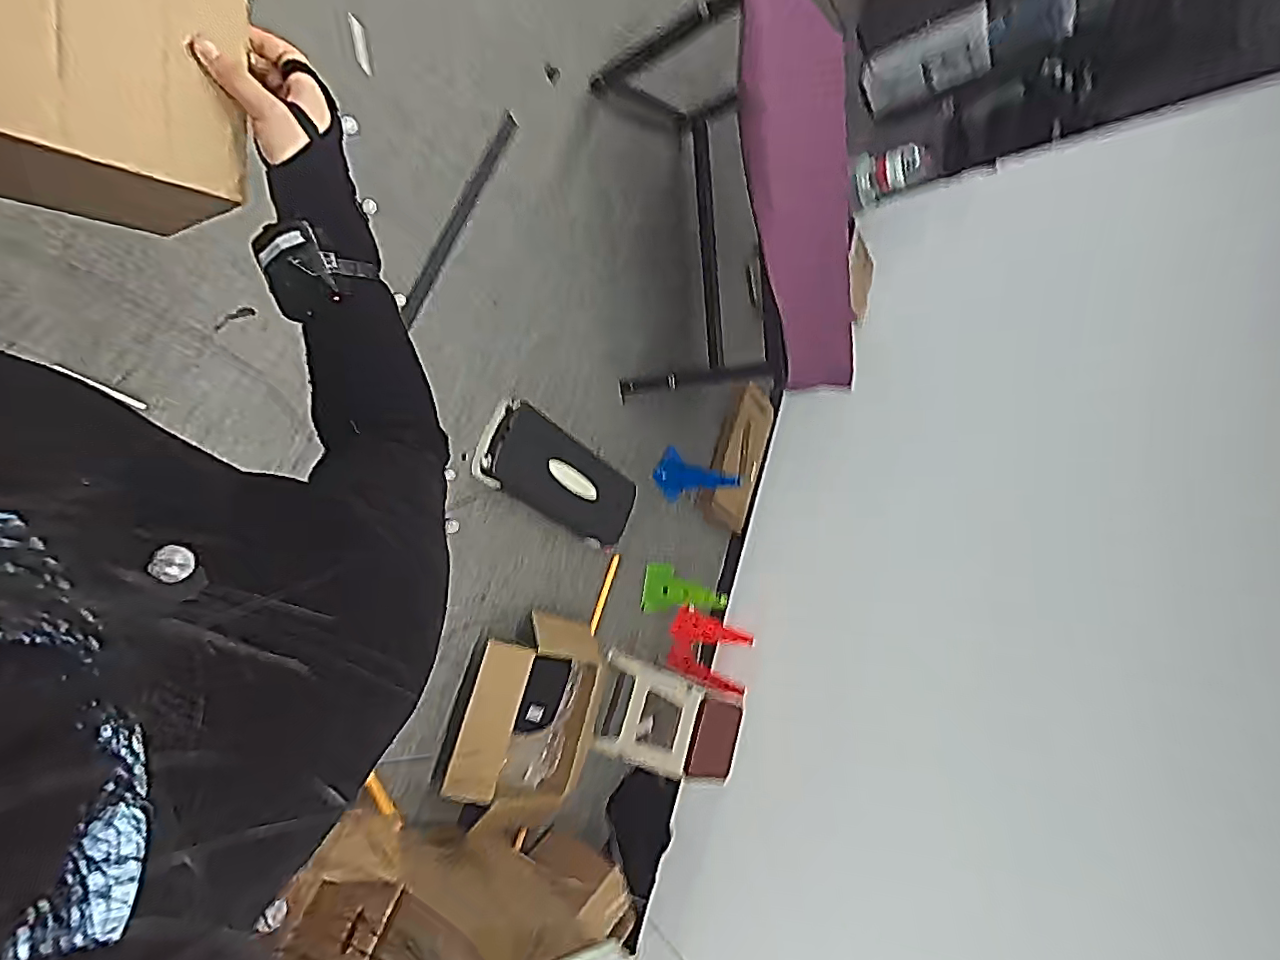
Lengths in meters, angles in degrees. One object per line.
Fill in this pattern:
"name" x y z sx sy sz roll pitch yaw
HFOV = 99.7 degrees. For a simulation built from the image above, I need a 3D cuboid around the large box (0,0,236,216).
"large box" -0.546 -0.400 0.352 0.408 0.320 0.320 -5 104 -49
